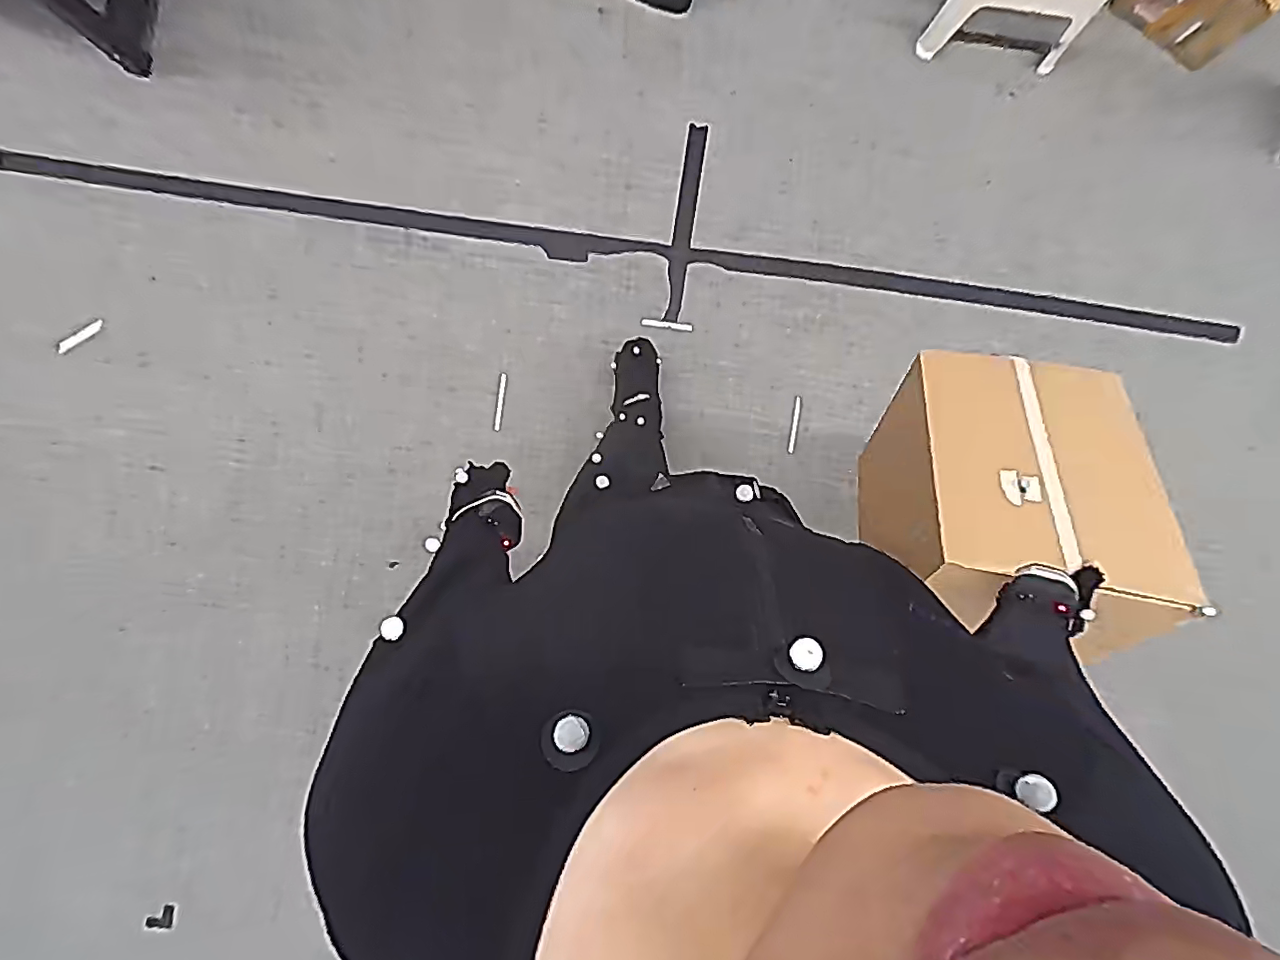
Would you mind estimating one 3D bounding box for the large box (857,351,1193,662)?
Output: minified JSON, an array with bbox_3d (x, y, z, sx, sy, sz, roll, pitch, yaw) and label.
[{"bbox_3d":[0.581,0.048,0.922,0.320,0.320,0.408,9,58,6],"label":"large box"}]
